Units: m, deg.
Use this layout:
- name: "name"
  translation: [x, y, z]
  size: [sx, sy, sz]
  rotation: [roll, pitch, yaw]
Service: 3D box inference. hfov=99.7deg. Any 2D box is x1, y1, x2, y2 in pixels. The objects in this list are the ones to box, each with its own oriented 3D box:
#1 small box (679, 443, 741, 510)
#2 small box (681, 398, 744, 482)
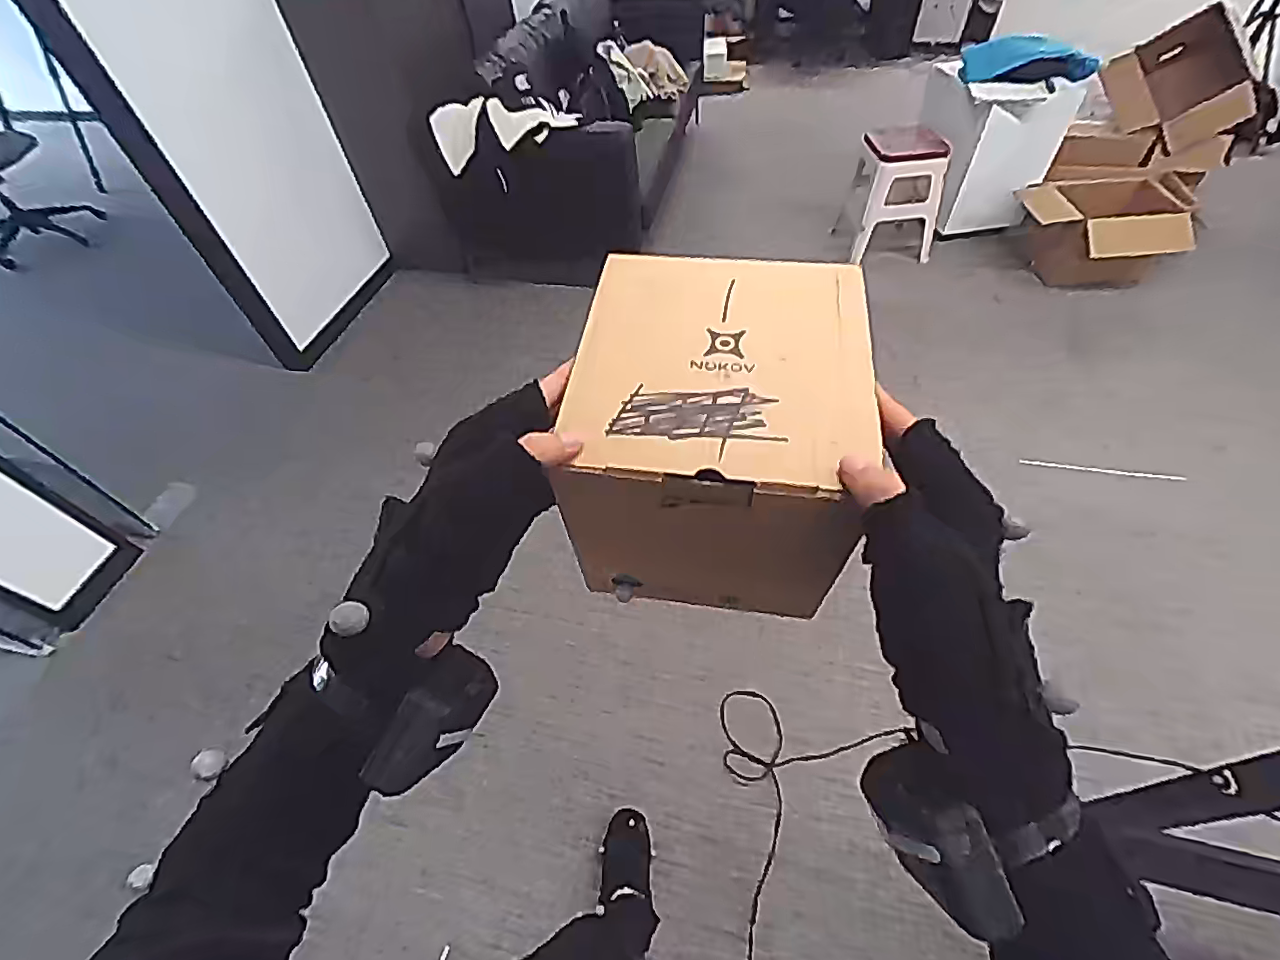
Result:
- name: "small box"
  translation: [0.227, -0.018, 1.766]
  size: [0.179, 0.176, 0.168]
  rotation: [8, 52, 11]
- name: "small box"
  translation: [0.217, -0.121, 1.638]
  size: [0.168, 0.176, 0.179]
  rotation: [8, 51, 11]
